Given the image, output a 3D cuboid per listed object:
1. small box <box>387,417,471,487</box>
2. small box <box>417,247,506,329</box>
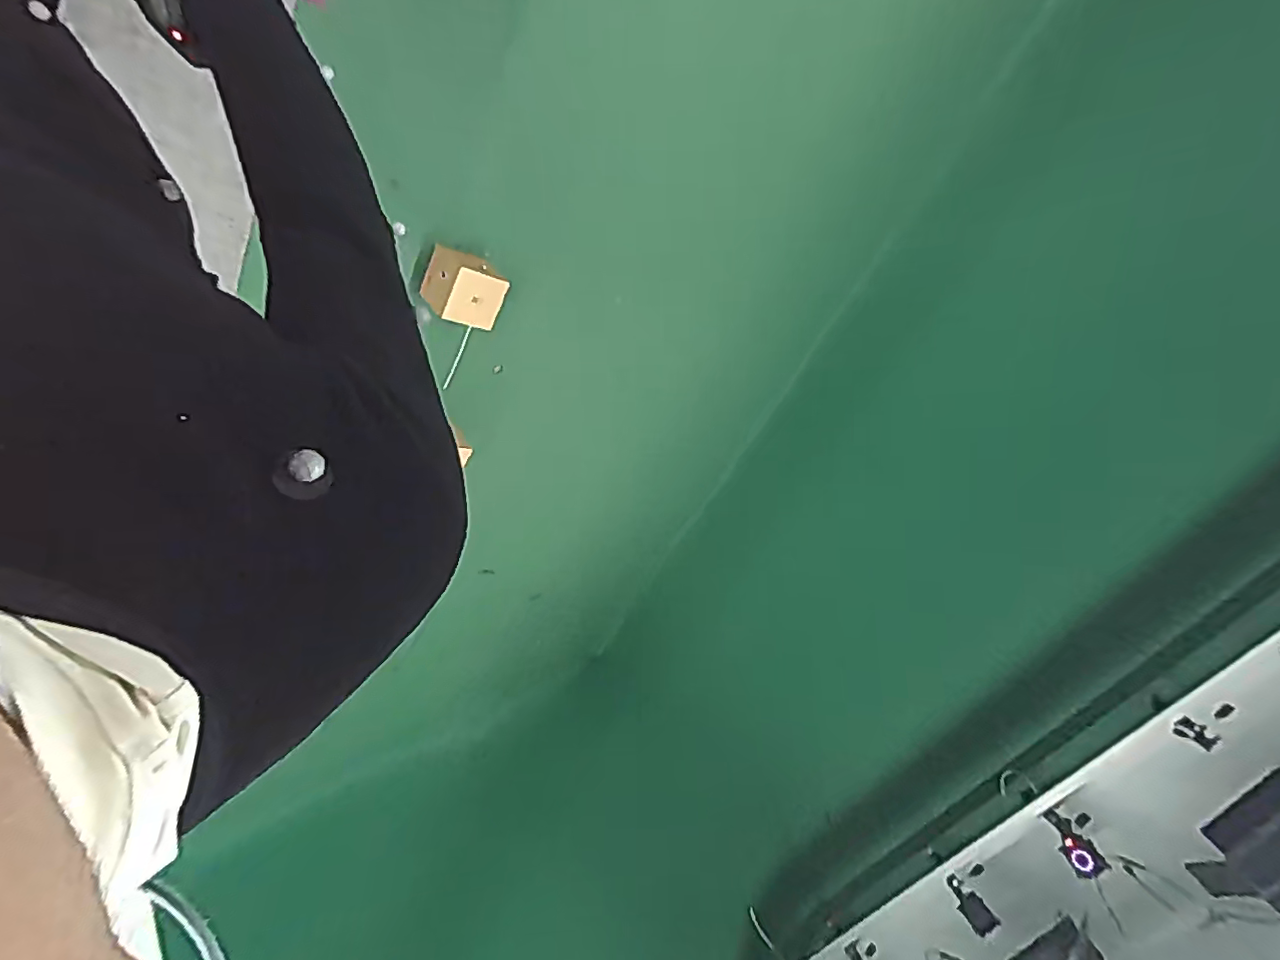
[{"bbox_3d":[-0.694,-0.092,1.773,0.179,0.176,0.168,0,128,-52],"label":"small box"},{"bbox_3d":[-0.553,-0.592,1.661,0.179,0.176,0.168,-3,130,-53],"label":"small box"}]
